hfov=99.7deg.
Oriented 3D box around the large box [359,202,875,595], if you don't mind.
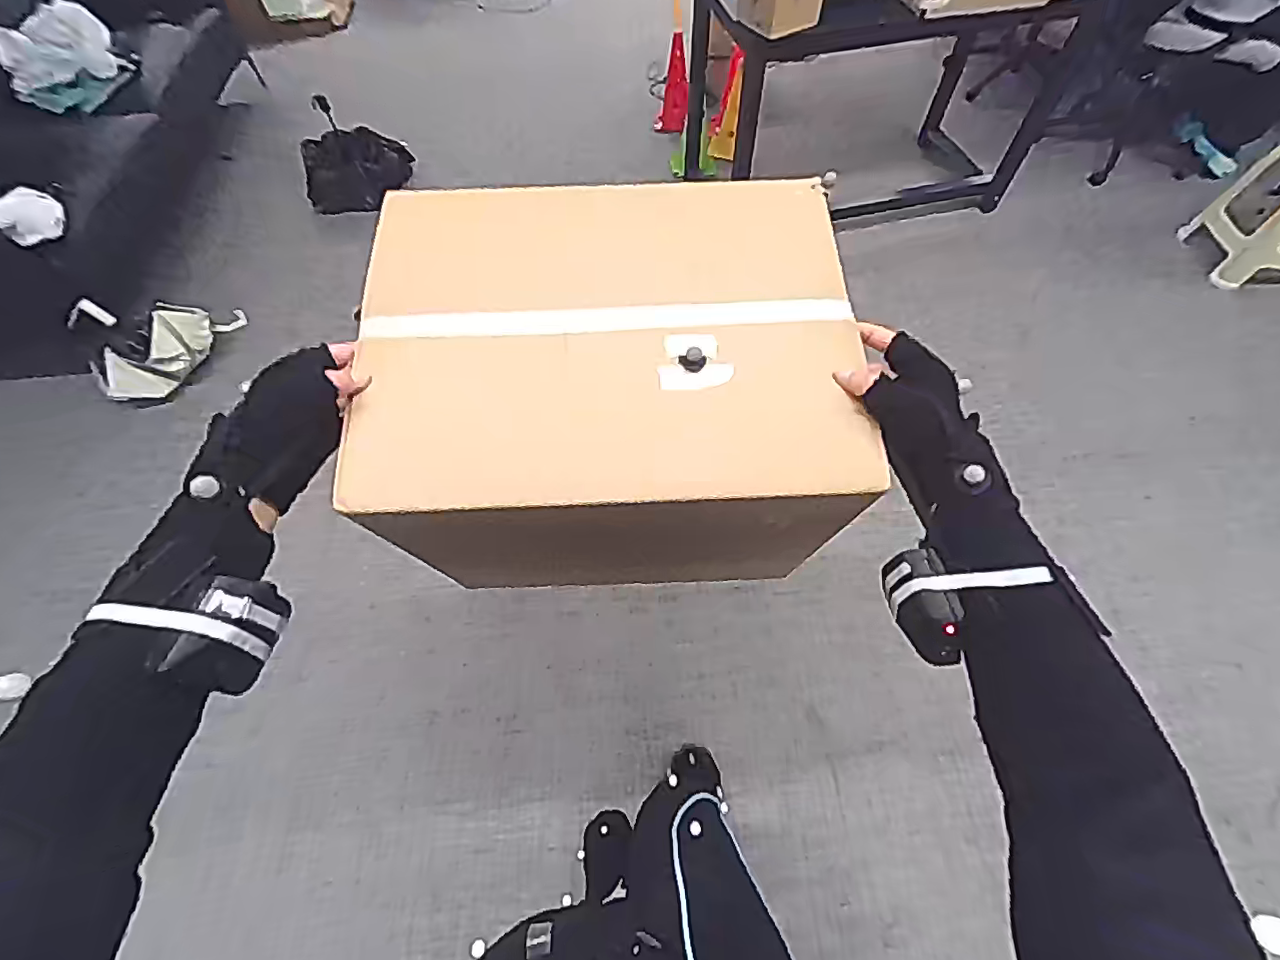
[{"bbox_3d":[-0.025,-0.063,0.603,0.408,0.320,0.320,-3,68,-1],"label":"large box"}]
